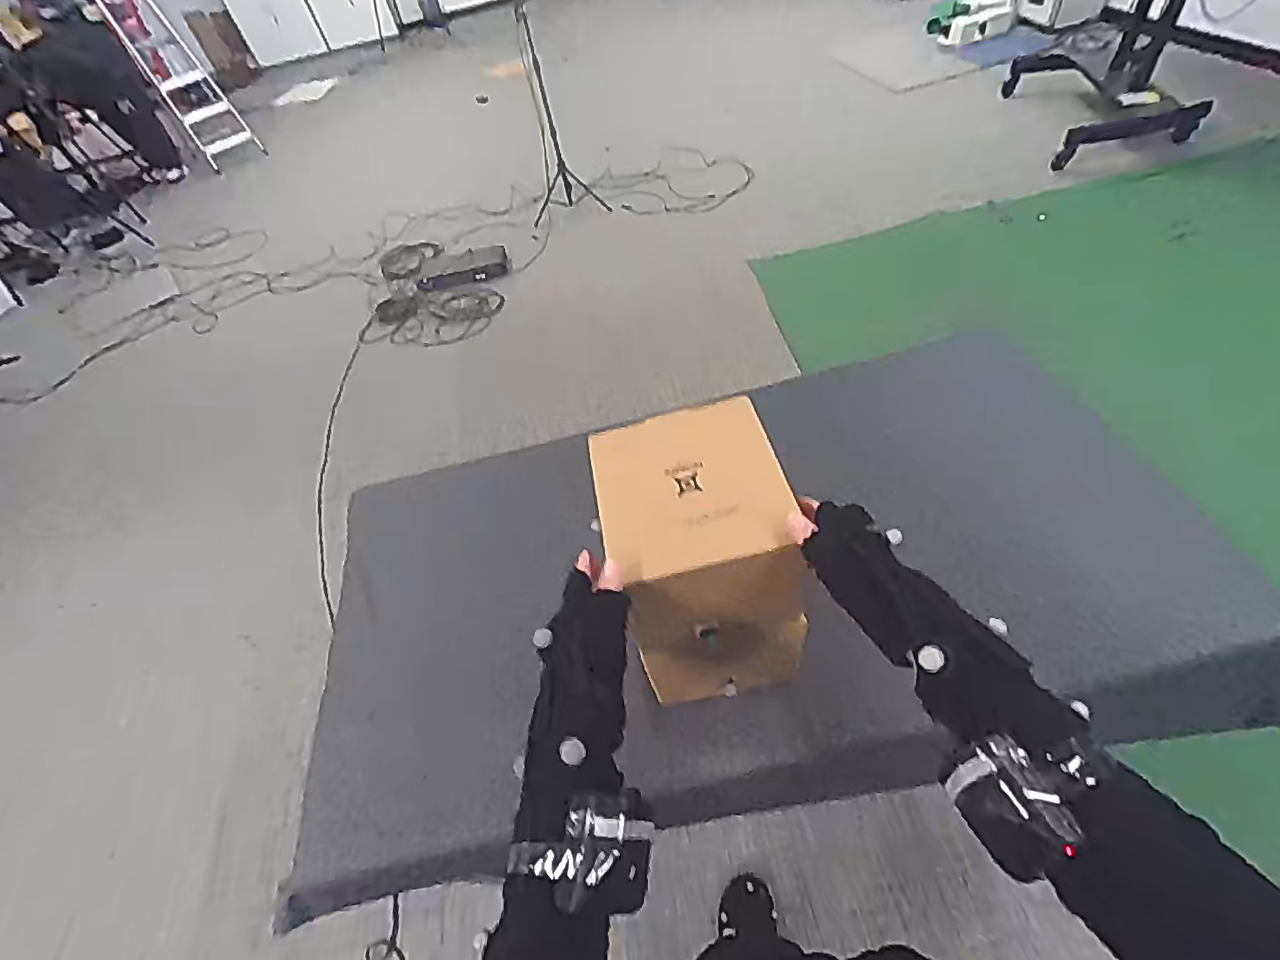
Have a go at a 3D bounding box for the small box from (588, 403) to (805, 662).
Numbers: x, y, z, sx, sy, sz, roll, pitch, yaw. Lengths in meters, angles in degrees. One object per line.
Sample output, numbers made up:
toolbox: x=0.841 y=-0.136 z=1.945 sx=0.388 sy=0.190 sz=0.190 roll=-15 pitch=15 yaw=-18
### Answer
small box: x=0.053 y=0.056 z=0.546 sx=0.168 sy=0.176 sz=0.179 roll=-15 pitch=49 yaw=2

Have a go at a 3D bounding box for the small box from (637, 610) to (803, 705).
small box: x=0.084 y=0.158 z=0.670 sx=0.179 sy=0.176 sz=0.168 roll=-12 pitch=50 yaw=1
